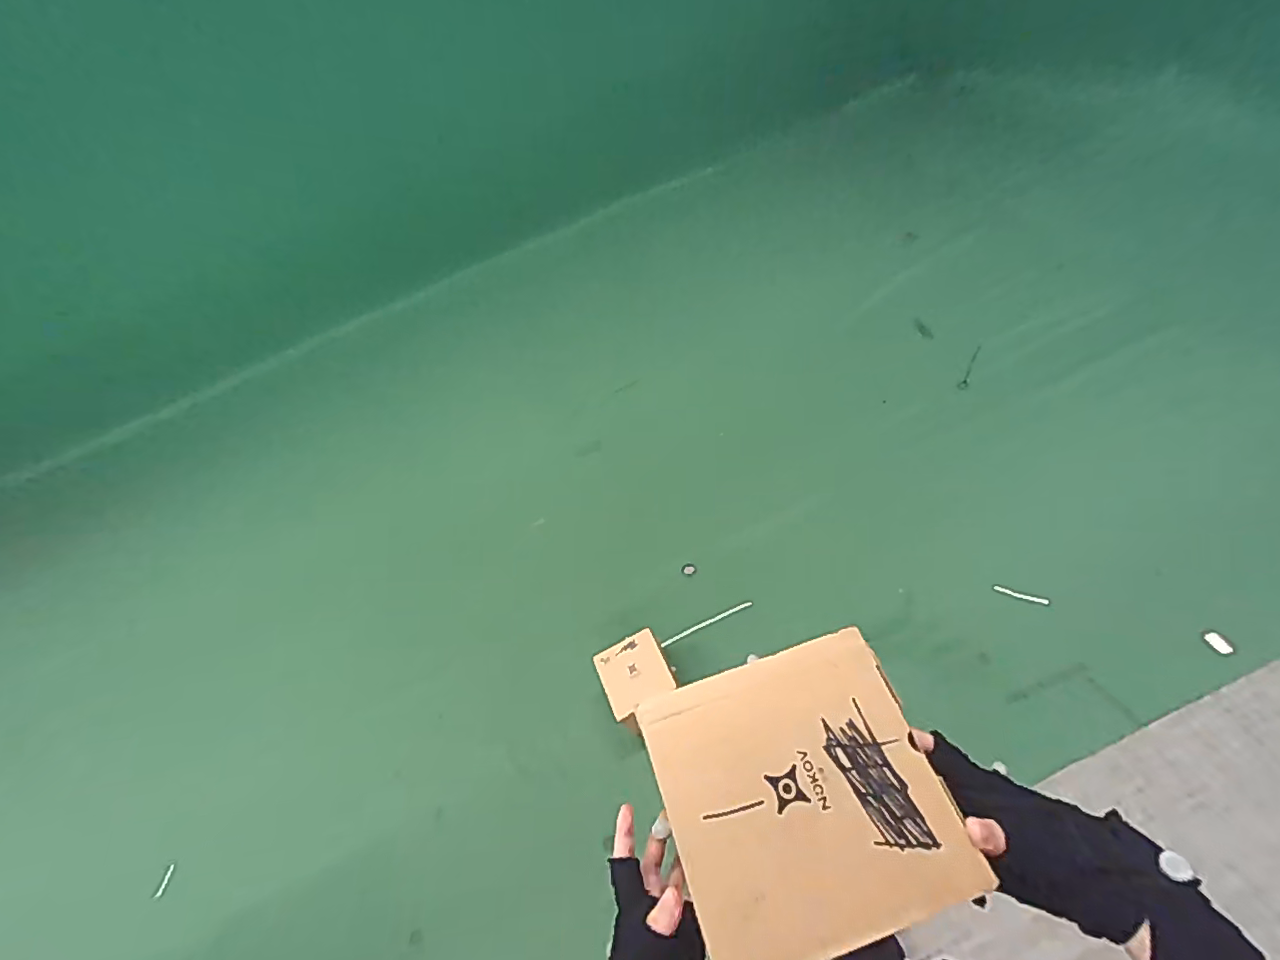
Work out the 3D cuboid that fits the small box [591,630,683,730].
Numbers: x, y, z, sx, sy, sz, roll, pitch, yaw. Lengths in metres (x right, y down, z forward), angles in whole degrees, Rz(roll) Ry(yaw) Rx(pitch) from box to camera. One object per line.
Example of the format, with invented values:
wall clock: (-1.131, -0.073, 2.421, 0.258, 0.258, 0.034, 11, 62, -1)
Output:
small box: (-0.003, 0.521, 1.390, 0.168, 0.176, 0.179, -26, 53, -3)
